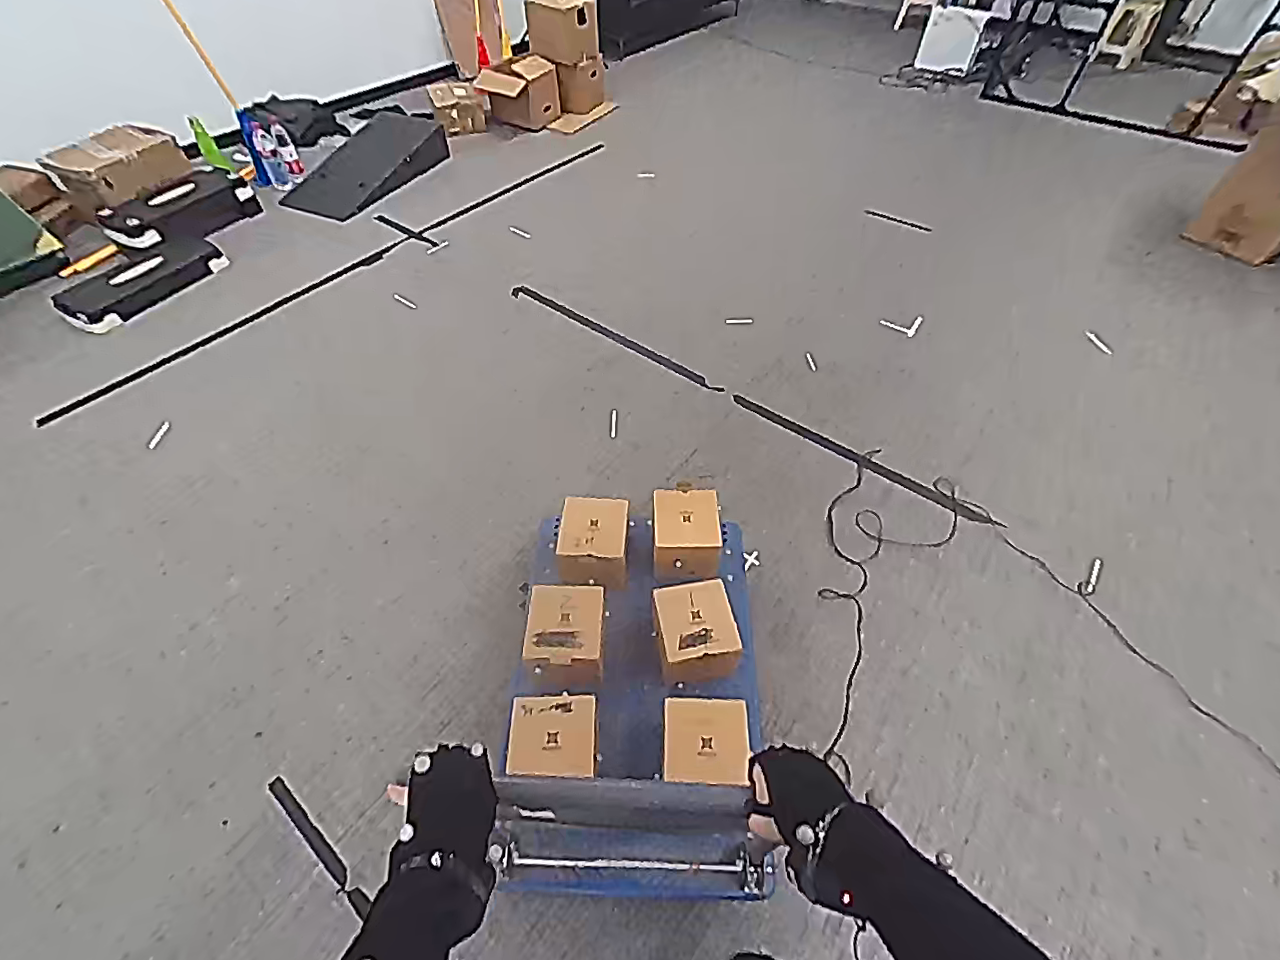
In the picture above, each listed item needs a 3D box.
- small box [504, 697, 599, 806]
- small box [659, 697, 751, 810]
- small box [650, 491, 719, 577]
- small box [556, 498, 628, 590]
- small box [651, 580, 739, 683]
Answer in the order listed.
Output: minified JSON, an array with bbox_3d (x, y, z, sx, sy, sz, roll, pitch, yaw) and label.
[{"bbox_3d":[-0.171,0.557,1.103,0.168,0.176,0.179,-1,52,-2],"label":"small box"},{"bbox_3d":[0.127,0.562,1.104,0.168,0.176,0.179,2,51,0],"label":"small box"},{"bbox_3d":[0.112,0.148,1.436,0.168,0.176,0.179,0,51,-1],"label":"small box"},{"bbox_3d":[-0.120,0.168,1.412,0.168,0.176,0.179,3,53,1],"label":"small box"},{"bbox_3d":[0.121,0.361,1.265,0.168,0.176,0.179,-7,51,-7],"label":"small box"}]
